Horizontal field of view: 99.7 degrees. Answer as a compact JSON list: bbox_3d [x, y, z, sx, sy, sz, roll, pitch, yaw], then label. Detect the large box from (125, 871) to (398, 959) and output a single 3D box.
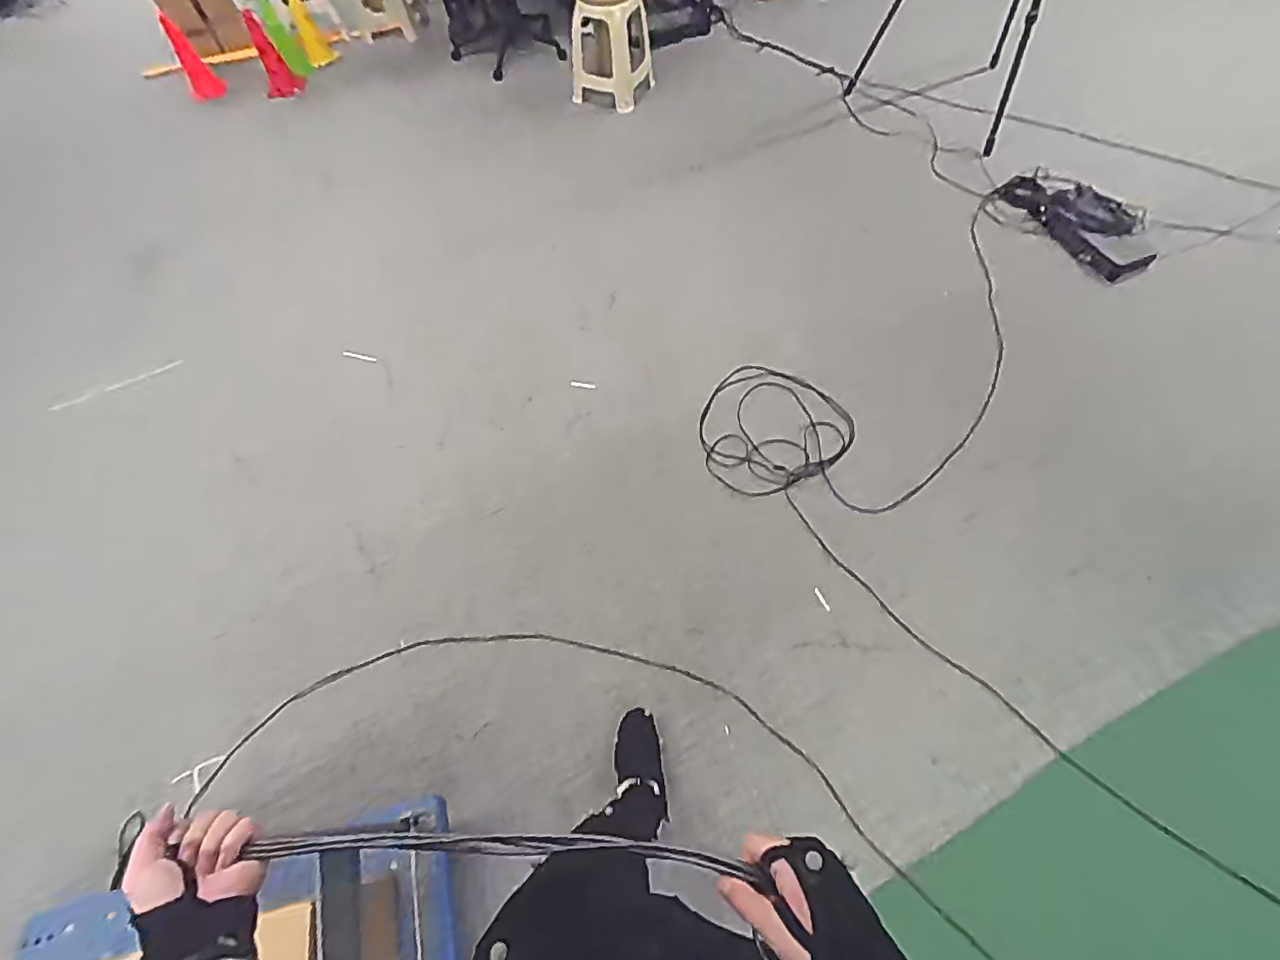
[{"bbox_3d":[-0.666,0.927,0.913,0.408,0.320,0.320,-15,61,-5],"label":"large box"}]
